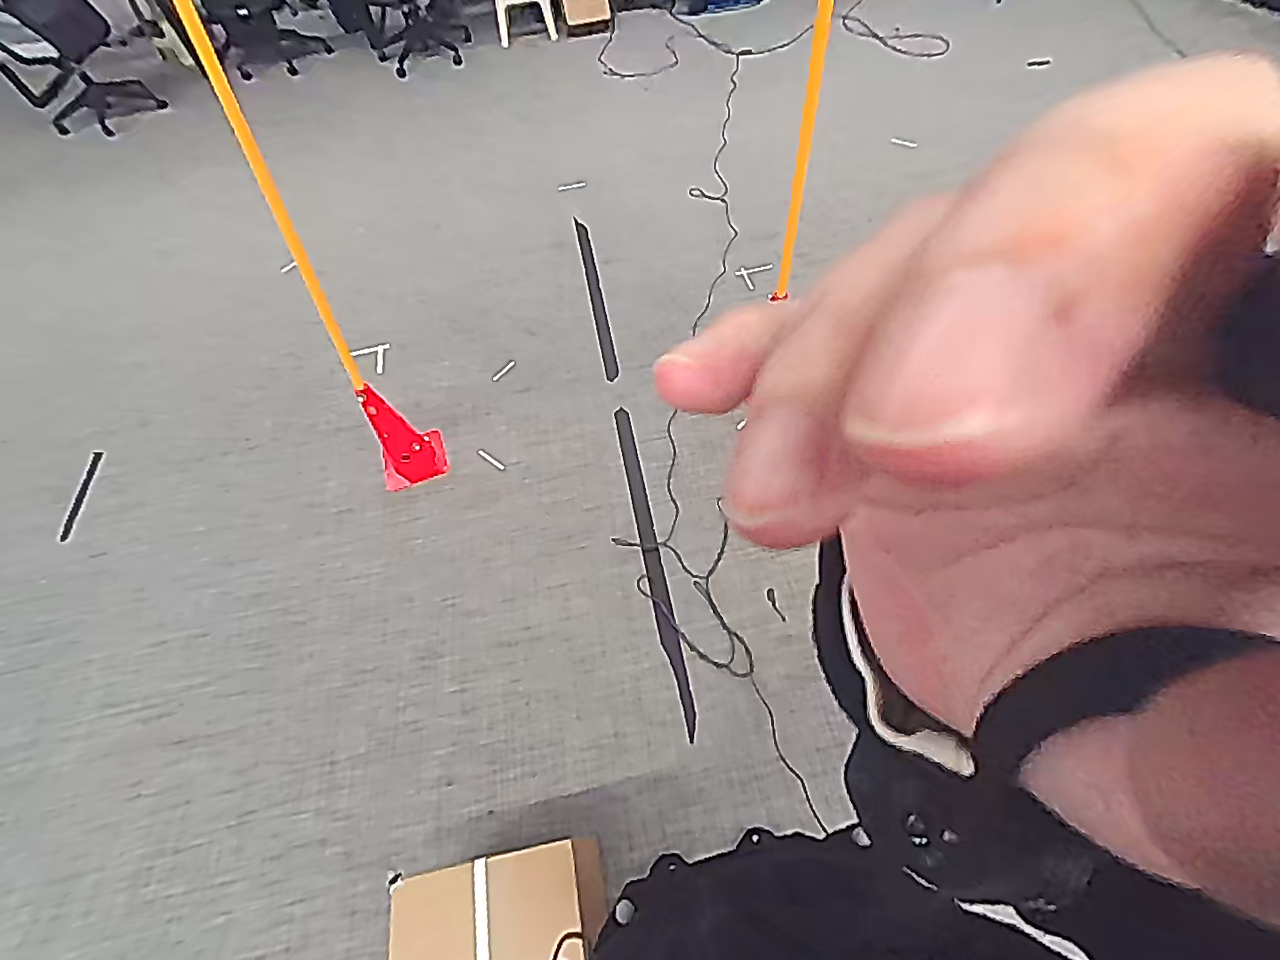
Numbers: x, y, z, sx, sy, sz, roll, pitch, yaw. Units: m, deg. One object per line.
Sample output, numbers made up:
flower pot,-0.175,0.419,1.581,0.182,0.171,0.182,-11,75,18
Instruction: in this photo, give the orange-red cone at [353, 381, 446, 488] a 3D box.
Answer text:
orange-red cone,-0.756,-0.163,1.631,0.199,0.360,0.198,-20,57,-6
